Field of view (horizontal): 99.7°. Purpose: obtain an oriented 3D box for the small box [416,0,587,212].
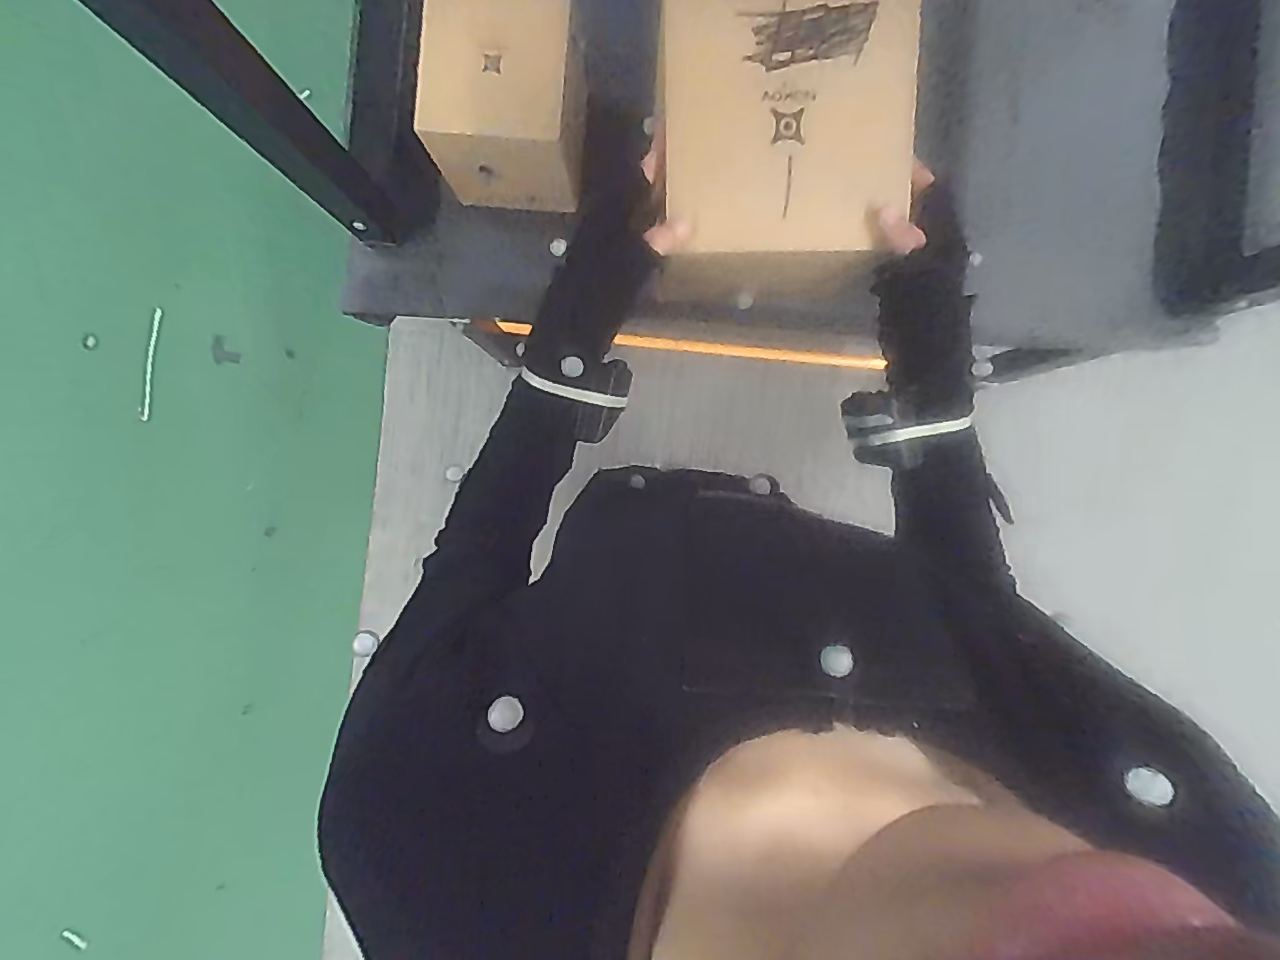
[{"bbox_3d":[-0.161,-0.463,0.679,0.168,0.176,0.179,4,89,0],"label":"small box"}]
